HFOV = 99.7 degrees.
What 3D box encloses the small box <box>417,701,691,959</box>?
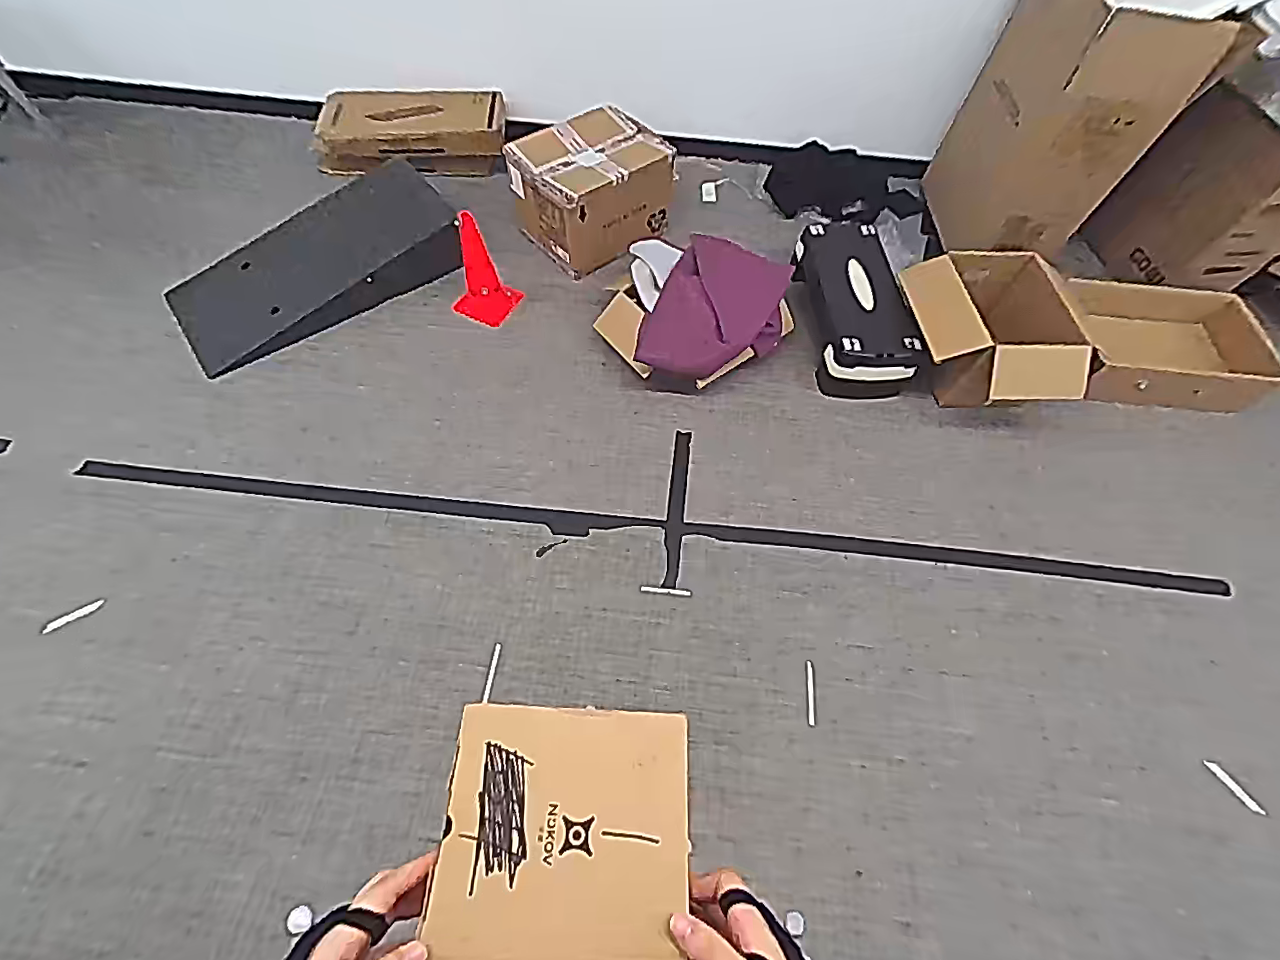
[{"bbox_3d":[-0.055,0.291,0.448,0.179,0.176,0.168,4,58,-1],"label":"small box"}]
